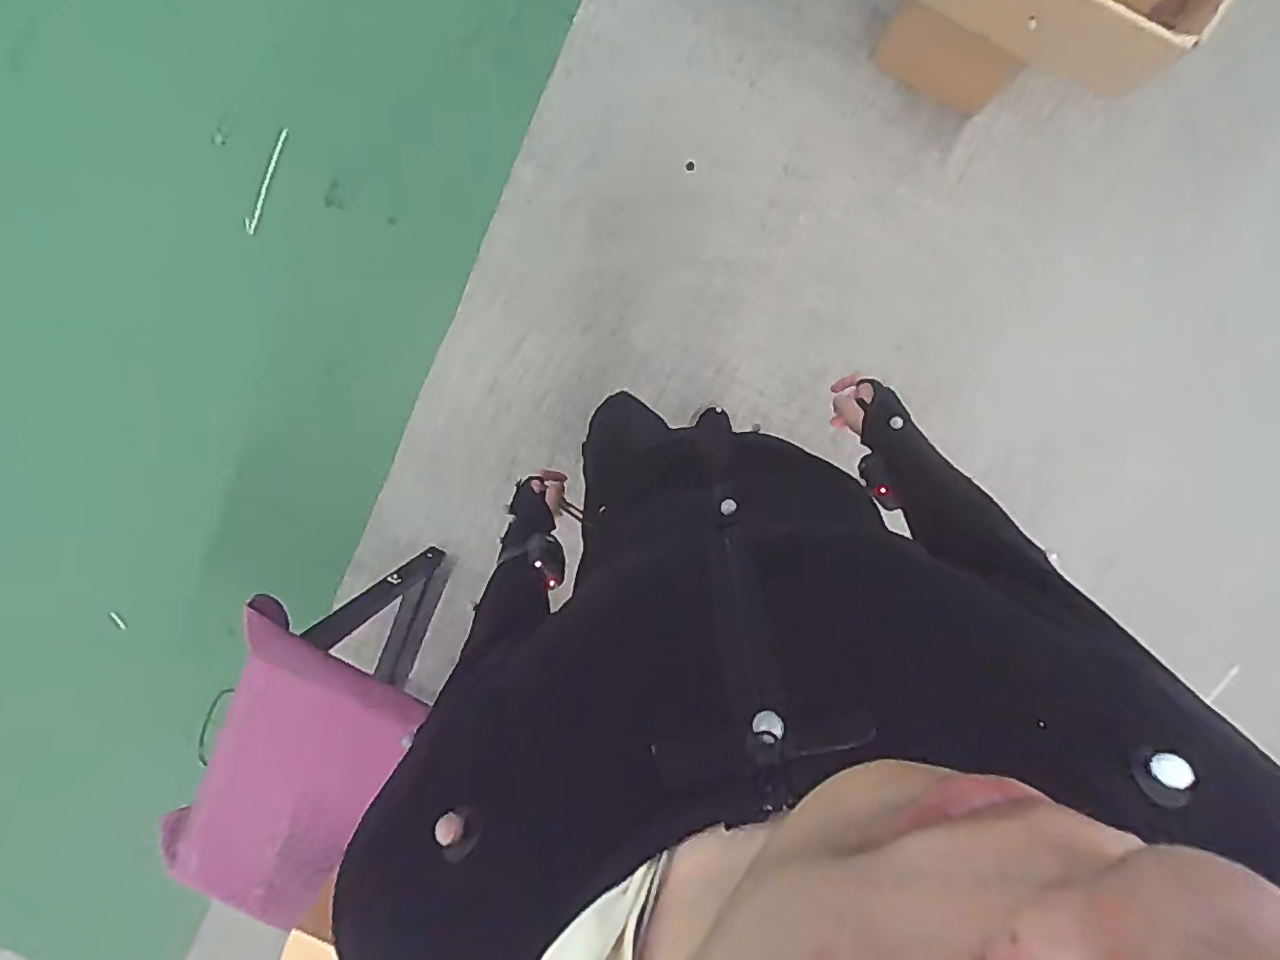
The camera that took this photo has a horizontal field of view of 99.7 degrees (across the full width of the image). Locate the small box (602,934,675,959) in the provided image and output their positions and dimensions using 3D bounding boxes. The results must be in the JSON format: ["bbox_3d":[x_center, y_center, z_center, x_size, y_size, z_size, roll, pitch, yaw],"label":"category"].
[{"bbox_3d":[-0.012,1.006,0.994,0.168,0.176,0.179,27,102,-1],"label":"small box"}]

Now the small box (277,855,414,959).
[{"bbox_3d":[-0.561,0.873,1.025,0.168,0.176,0.179,25,101,-1],"label":"small box"}]
